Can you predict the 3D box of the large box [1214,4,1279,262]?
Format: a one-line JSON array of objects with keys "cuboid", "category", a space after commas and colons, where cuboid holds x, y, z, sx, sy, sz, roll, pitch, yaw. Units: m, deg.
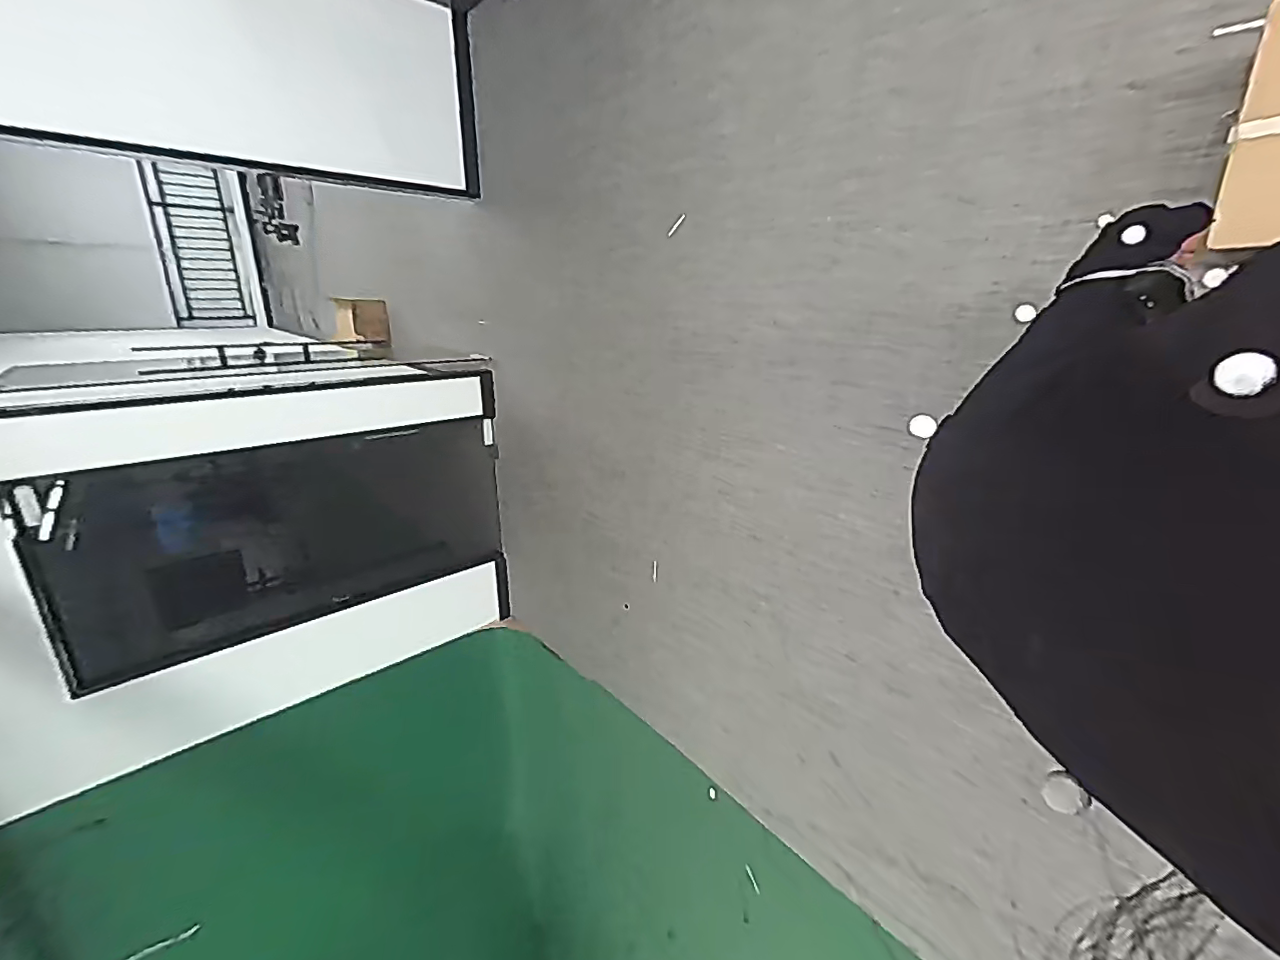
[{"cuboid": [1.093, -0.483, 0.719, 0.408, 0.320, 0.320, 17, 114, 46], "category": "large box"}]
